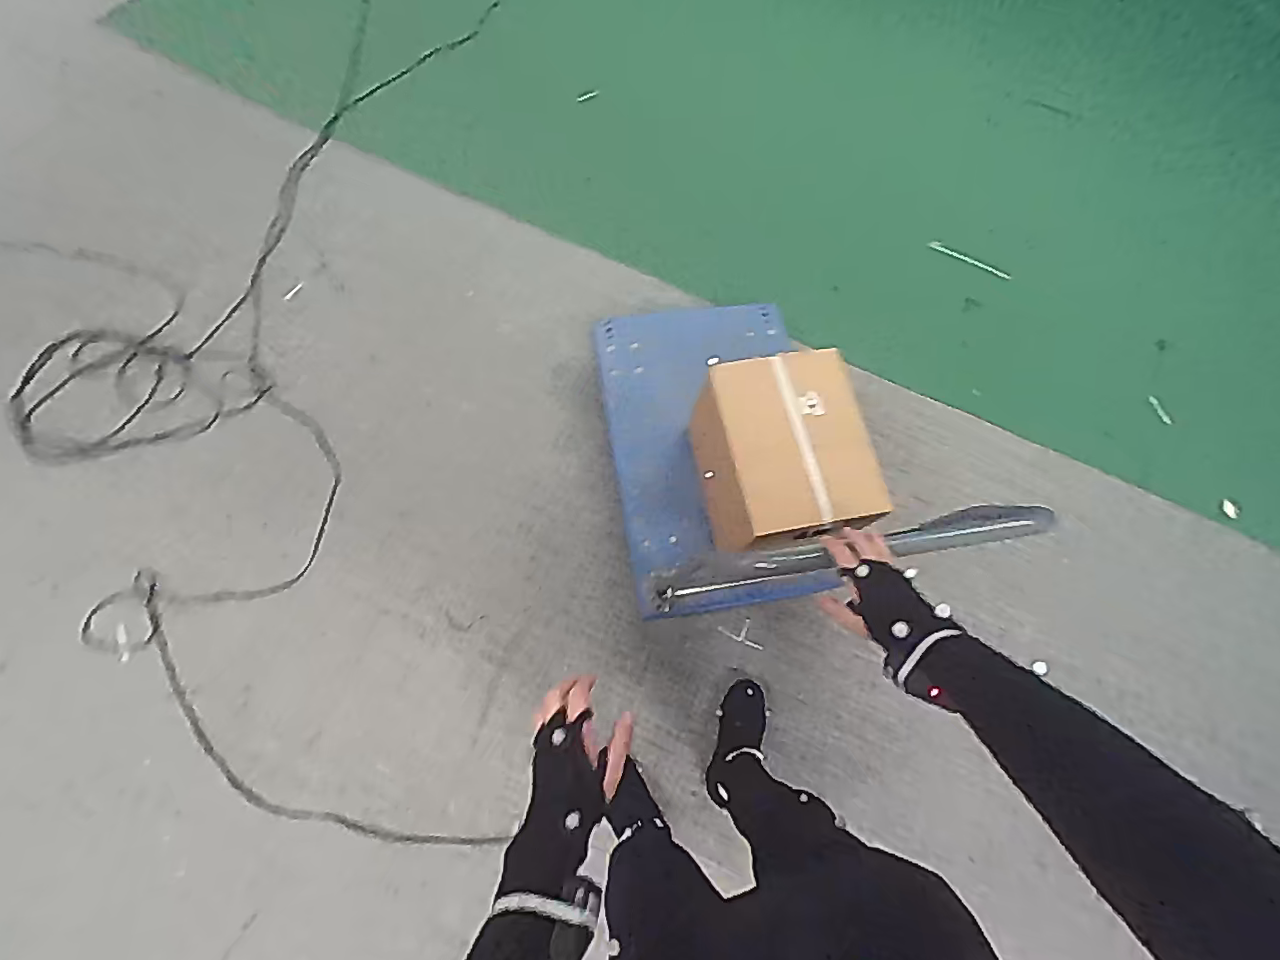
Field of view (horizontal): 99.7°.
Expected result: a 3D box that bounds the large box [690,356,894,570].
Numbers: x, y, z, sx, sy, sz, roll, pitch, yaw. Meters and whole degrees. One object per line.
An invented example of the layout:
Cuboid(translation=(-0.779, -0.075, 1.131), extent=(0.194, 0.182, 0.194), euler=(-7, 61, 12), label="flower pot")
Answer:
Cuboid(translation=(0.332, -0.030, 1.308), extent=(0.320, 0.320, 0.408), euler=(-9, 70, -9), label="large box")
